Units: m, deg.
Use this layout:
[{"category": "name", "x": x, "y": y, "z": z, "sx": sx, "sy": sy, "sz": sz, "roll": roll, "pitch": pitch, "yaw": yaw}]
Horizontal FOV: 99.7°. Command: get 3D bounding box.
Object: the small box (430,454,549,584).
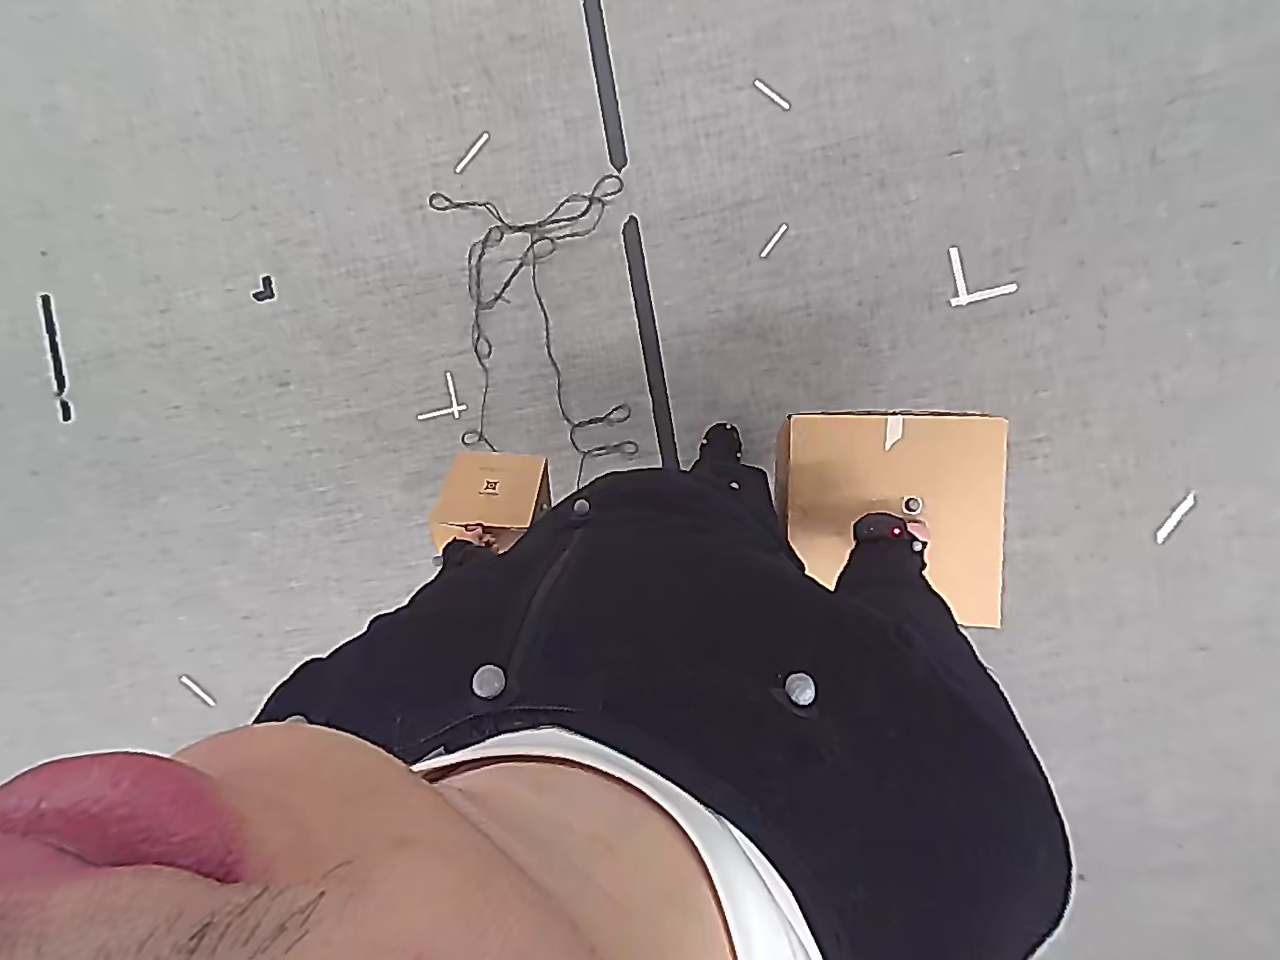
[{"category": "small box", "x": -0.262, "y": 0.074, "z": 0.992, "sx": 0.168, "sy": 0.179, "sz": 0.176, "roll": 4, "pitch": 136, "yaw": -1}]
